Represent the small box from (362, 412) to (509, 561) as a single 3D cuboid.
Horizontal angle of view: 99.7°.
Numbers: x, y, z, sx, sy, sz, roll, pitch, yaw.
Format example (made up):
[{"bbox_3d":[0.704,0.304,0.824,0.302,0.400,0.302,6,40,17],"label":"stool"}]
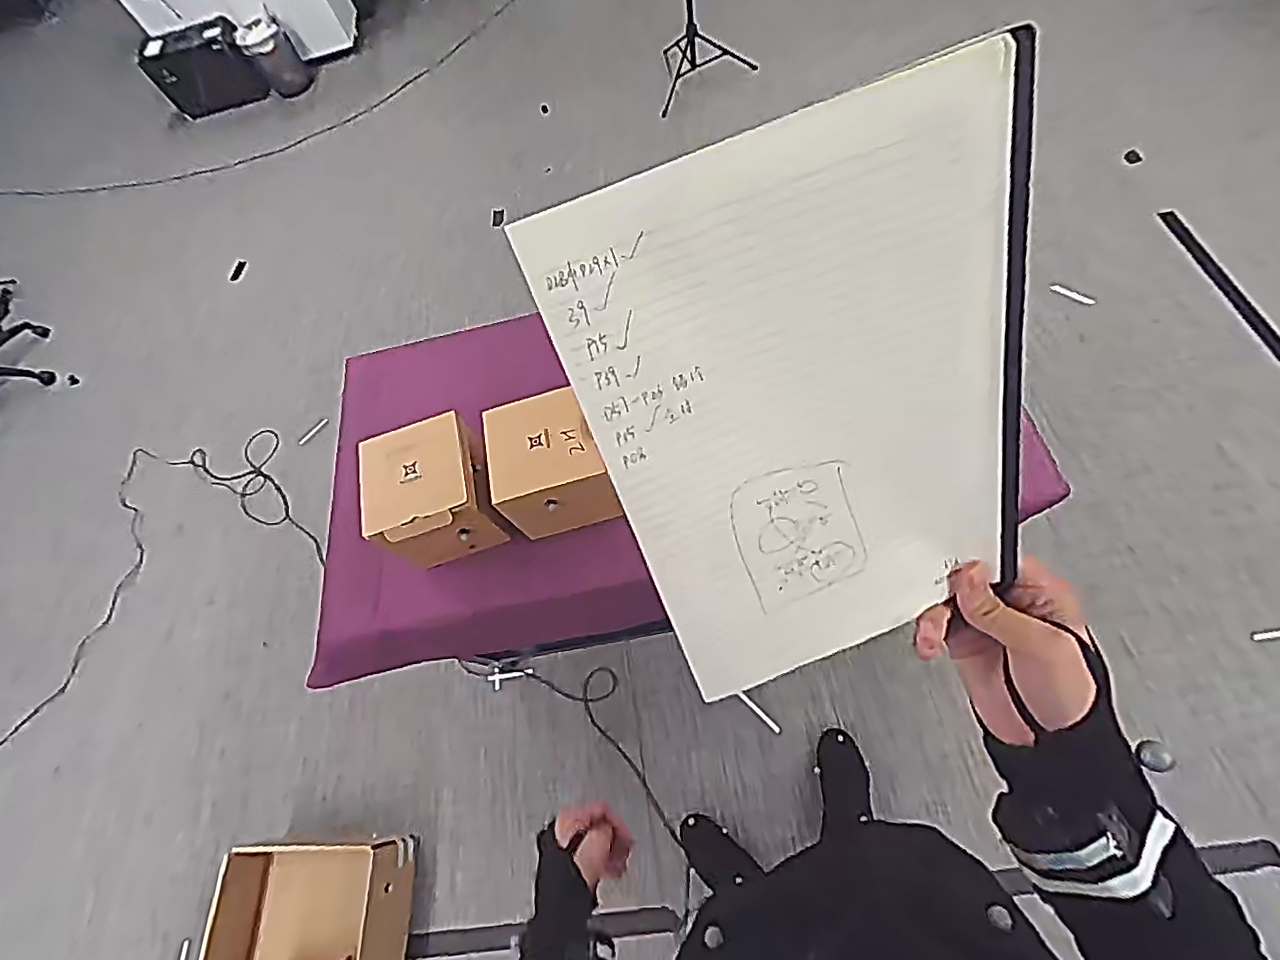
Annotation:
[{"bbox_3d":[-0.332,0.022,0.898,0.168,0.176,0.179,-19,63,1],"label":"small box"}]
